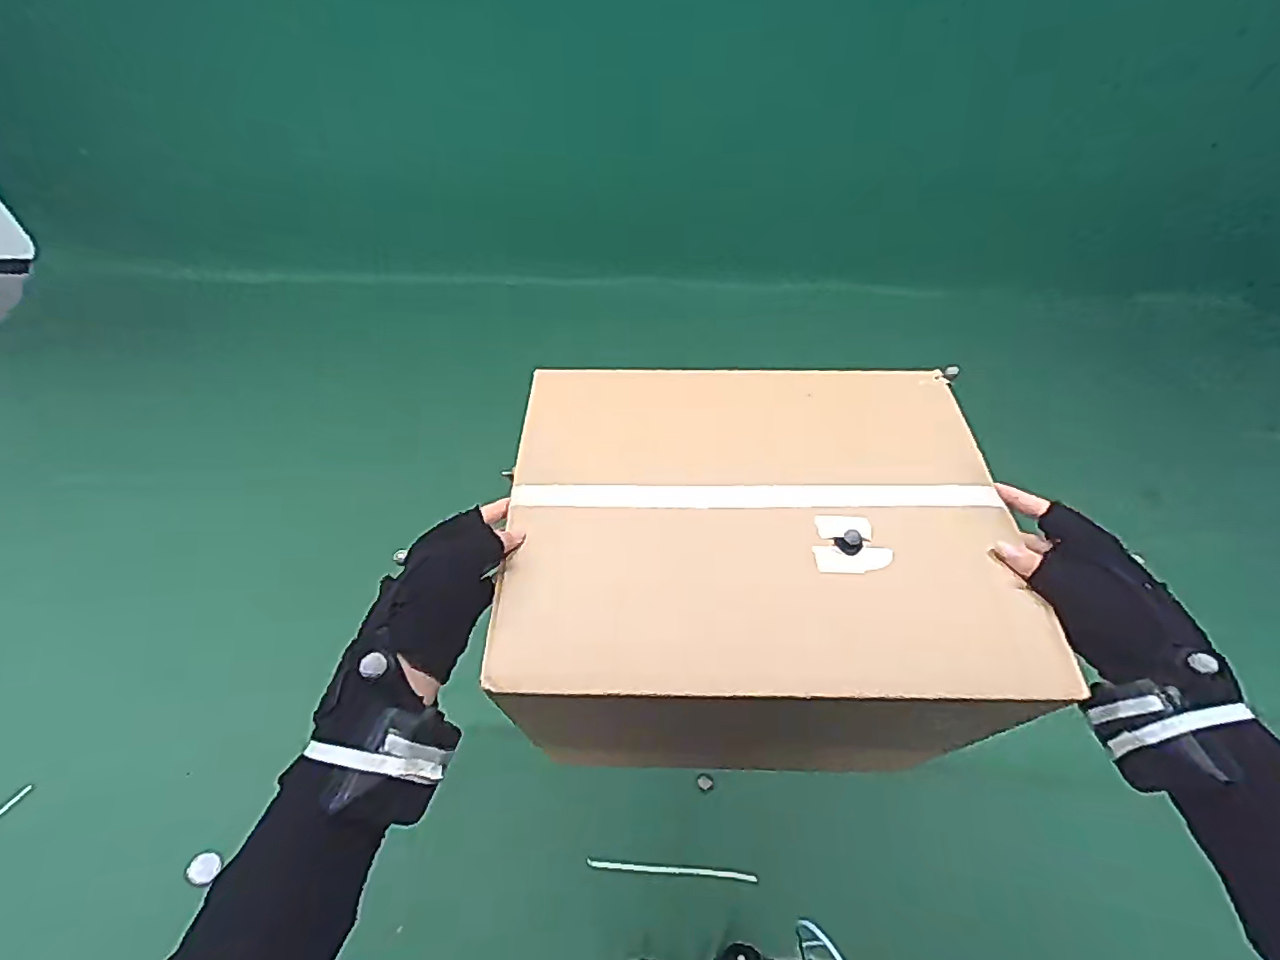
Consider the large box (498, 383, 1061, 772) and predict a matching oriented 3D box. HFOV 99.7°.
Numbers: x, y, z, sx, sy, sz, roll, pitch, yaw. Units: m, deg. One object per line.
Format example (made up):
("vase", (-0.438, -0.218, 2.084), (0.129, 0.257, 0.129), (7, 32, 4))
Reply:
("large box", (0.097, 0.115, 0.583), (0.408, 0.320, 0.320), (0, 54, 1))
